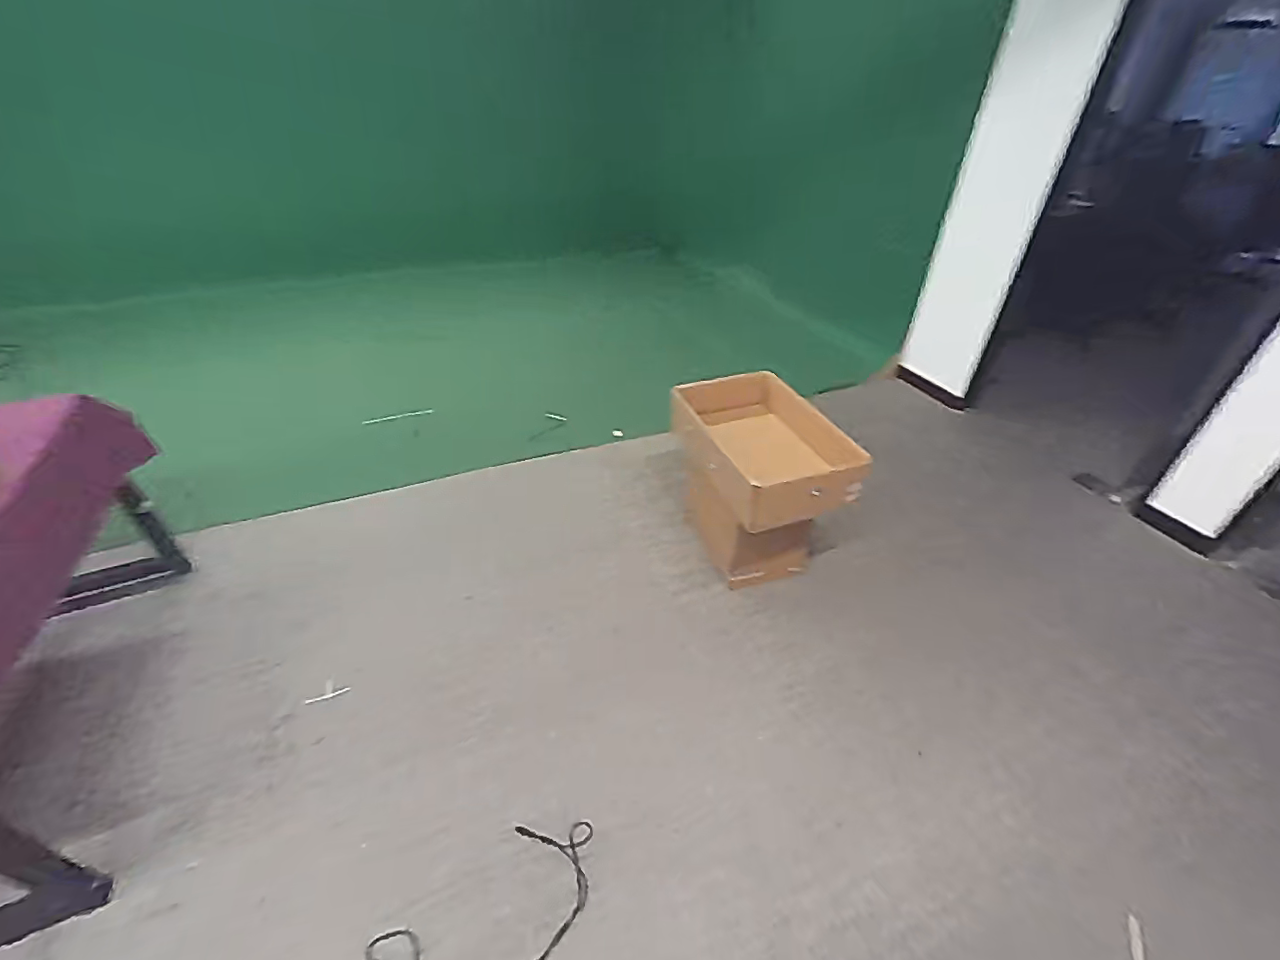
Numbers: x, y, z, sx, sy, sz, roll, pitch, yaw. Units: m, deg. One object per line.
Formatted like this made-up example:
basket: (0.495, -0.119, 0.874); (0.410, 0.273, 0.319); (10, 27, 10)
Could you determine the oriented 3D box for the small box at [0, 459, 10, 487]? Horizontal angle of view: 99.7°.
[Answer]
small box: (-1.596, -0.020, 1.211); (0.168, 0.176, 0.179); (-16, 41, -20)
